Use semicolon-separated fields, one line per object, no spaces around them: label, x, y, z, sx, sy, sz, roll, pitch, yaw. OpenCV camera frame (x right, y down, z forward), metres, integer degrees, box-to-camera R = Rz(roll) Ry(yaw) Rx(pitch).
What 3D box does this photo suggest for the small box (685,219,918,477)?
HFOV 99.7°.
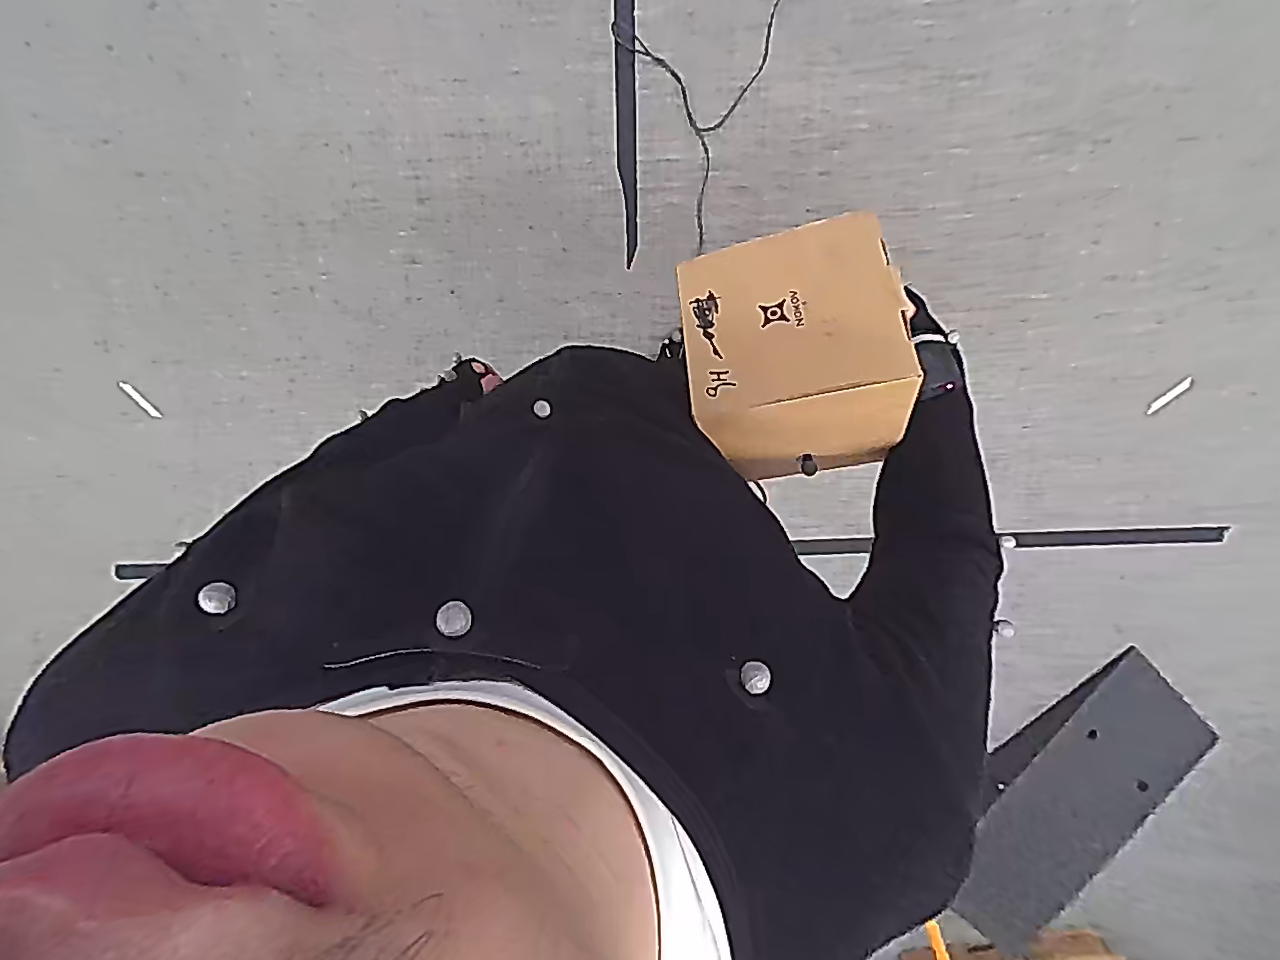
small box;0.150;-0.115;0.536;0.179;0.176;0.168;-9;67;14
